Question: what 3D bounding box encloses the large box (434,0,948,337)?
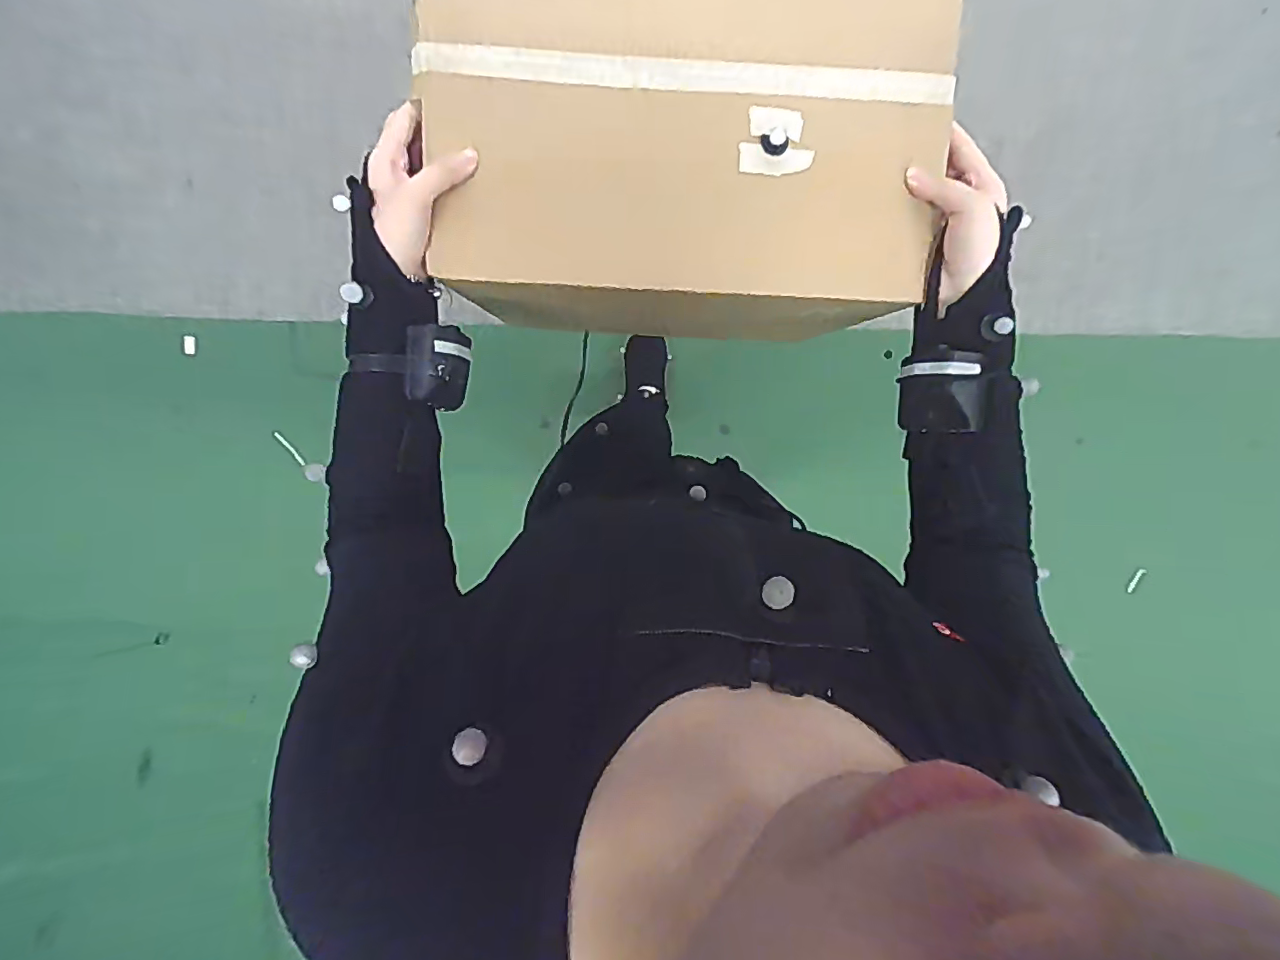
[{"bbox_3d":[0.032,-0.331,0.570,0.408,0.320,0.320,2,98,-3],"label":"large box"}]
